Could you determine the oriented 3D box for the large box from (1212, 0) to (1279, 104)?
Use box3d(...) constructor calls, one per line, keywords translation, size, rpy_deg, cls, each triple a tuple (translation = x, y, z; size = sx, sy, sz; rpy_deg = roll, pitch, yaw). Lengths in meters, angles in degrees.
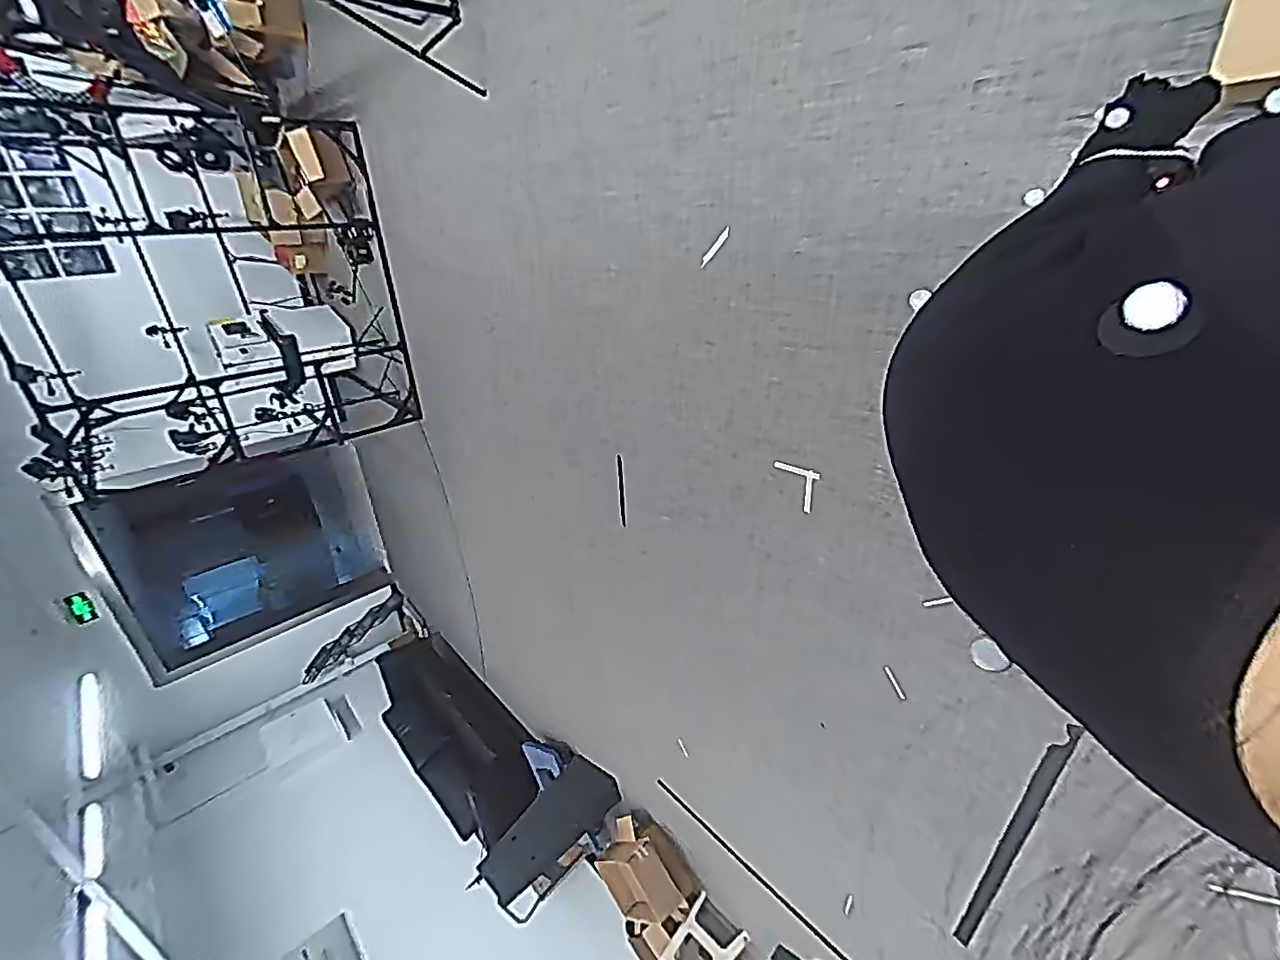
box3d(translation=(1.028, -0.685, 0.648), size=(0.408, 0.320, 0.320), rpy_deg=(22, 126, 42), cls="large box")
